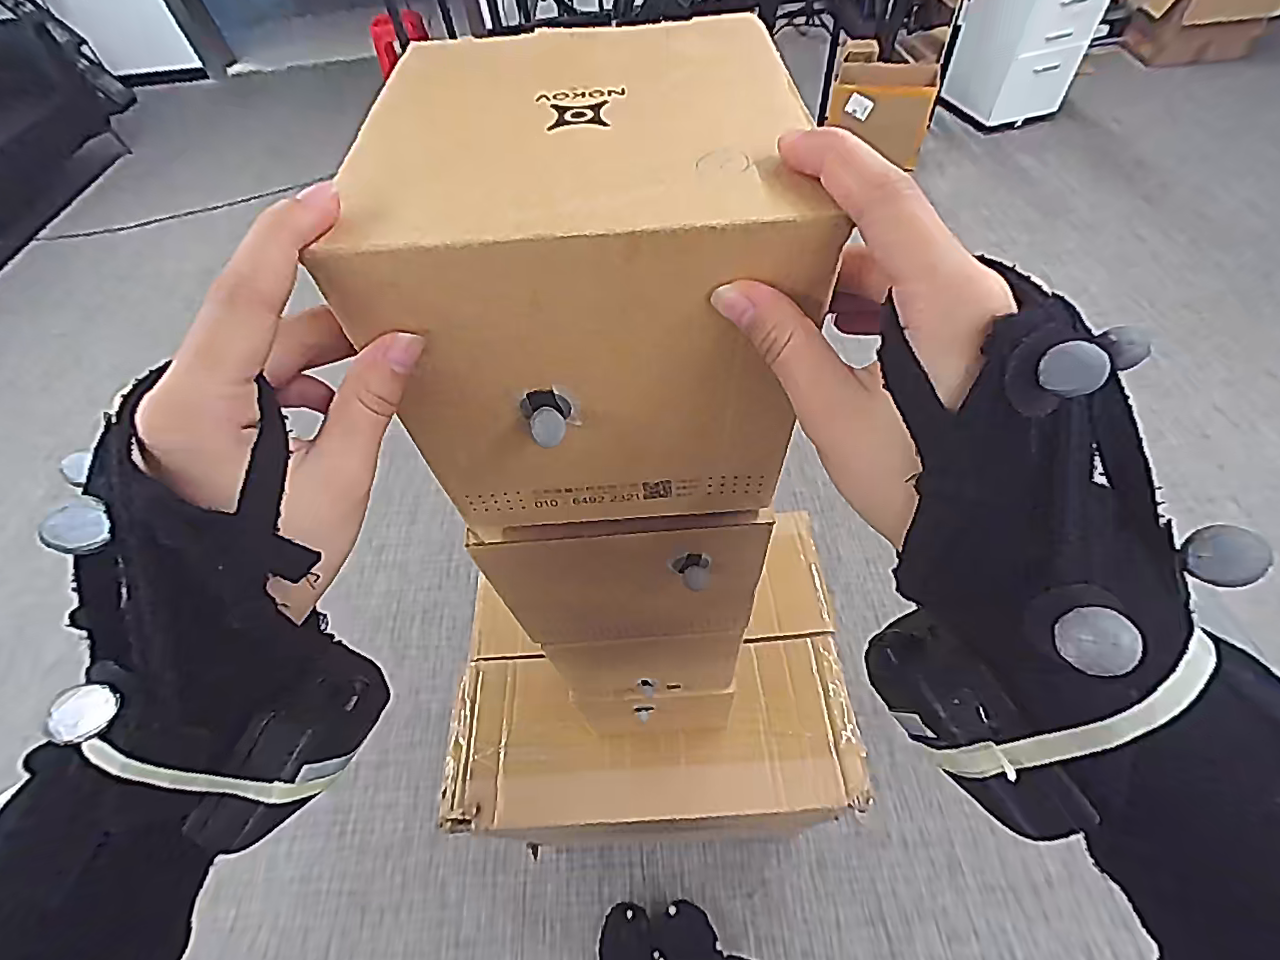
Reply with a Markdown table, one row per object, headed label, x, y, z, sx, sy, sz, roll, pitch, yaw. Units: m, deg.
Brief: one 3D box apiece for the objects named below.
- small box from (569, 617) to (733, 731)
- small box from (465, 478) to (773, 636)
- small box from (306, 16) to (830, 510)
| label | x | y | z | sx | sy | sz | roll | pitch | yaw |
| --- | --- | --- | --- | --- | --- | --- | --- | --- | --- |
| small box | 0.016 | 0.206 | 0.673 | 0.179 | 0.176 | 0.168 | -4 | 54 | 2 |
| small box | -0.010 | 0.008 | 0.411 | 0.179 | 0.176 | 0.168 | -5 | 54 | 2 |
| small box | -0.021 | -0.095 | 0.275 | 0.168 | 0.176 | 0.179 | -4 | 54 | 1 |
